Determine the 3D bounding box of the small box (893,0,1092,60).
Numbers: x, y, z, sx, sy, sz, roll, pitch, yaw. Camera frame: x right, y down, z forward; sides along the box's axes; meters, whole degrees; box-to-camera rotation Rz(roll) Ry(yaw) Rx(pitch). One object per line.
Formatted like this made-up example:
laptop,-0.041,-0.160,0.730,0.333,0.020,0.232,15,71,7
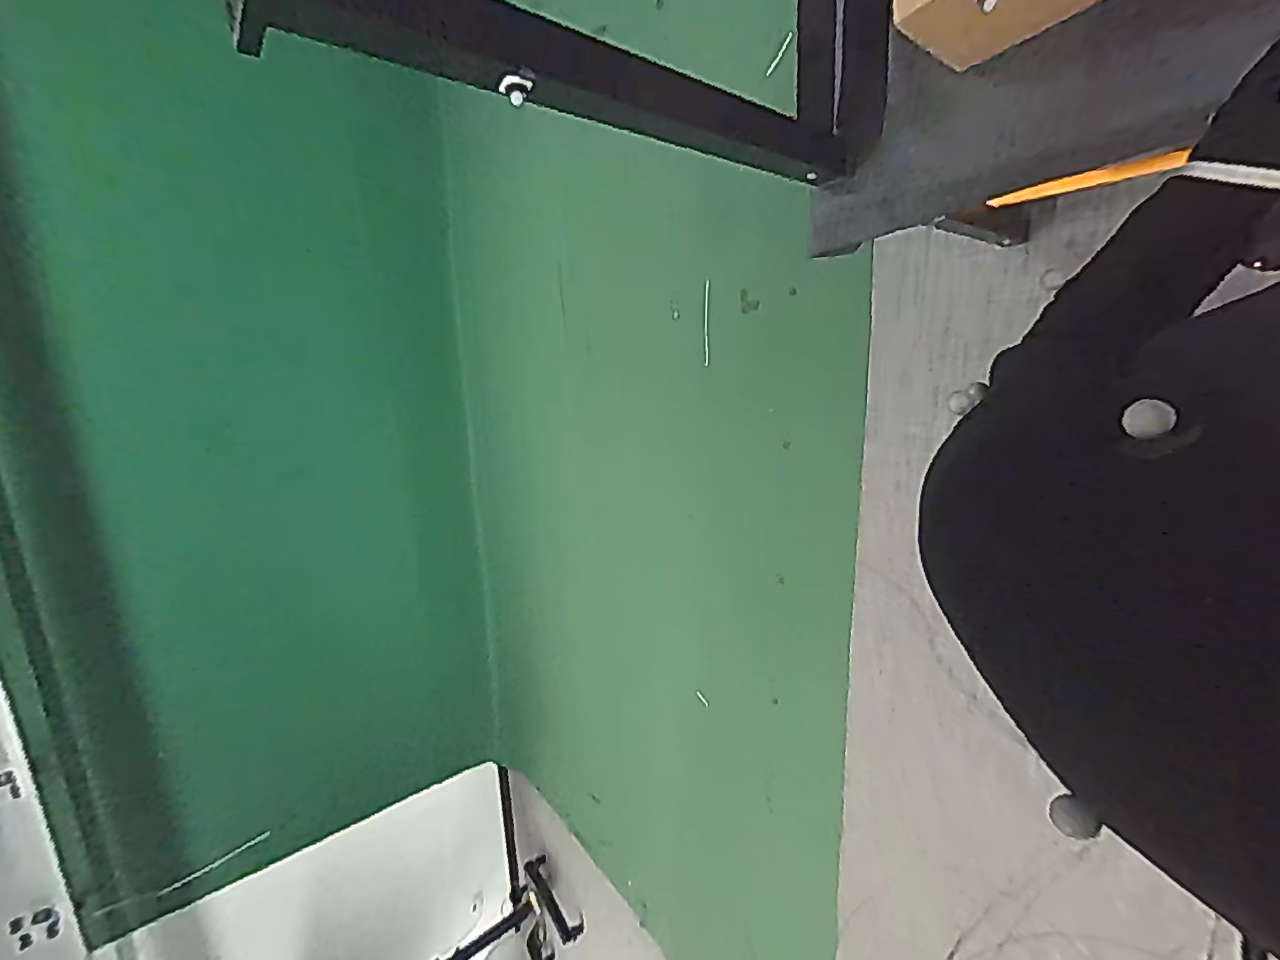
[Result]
small box,0.382,-0.578,0.549,0.179,0.176,0.168,5,103,51
